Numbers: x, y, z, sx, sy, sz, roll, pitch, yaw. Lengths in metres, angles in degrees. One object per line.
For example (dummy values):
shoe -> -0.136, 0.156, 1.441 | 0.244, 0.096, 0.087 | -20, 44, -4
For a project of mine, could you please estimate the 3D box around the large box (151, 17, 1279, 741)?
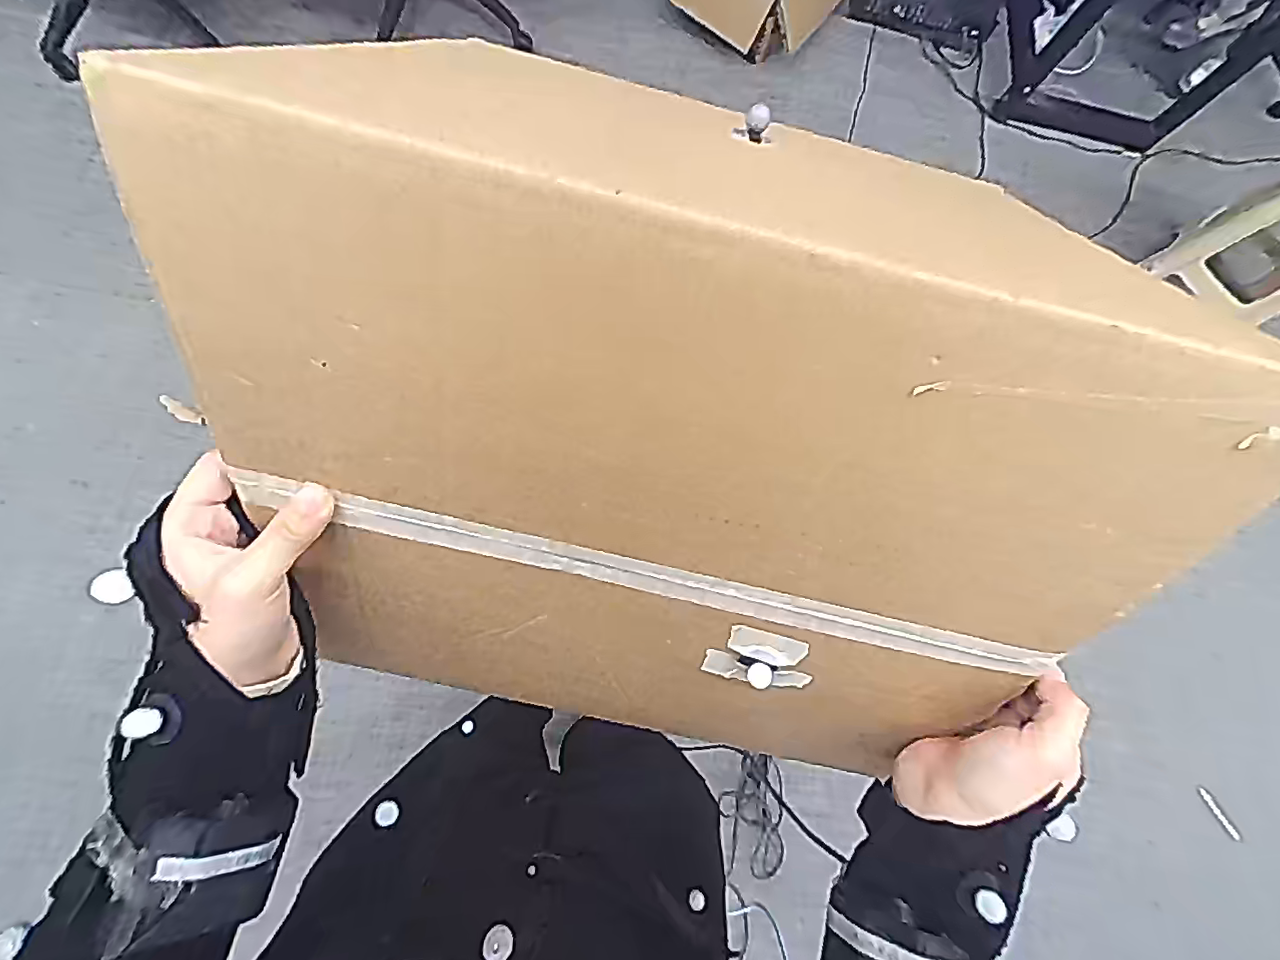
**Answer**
large box -> 0.035, -0.073, 0.372 | 0.408, 0.320, 0.320 | 12, 41, -3
